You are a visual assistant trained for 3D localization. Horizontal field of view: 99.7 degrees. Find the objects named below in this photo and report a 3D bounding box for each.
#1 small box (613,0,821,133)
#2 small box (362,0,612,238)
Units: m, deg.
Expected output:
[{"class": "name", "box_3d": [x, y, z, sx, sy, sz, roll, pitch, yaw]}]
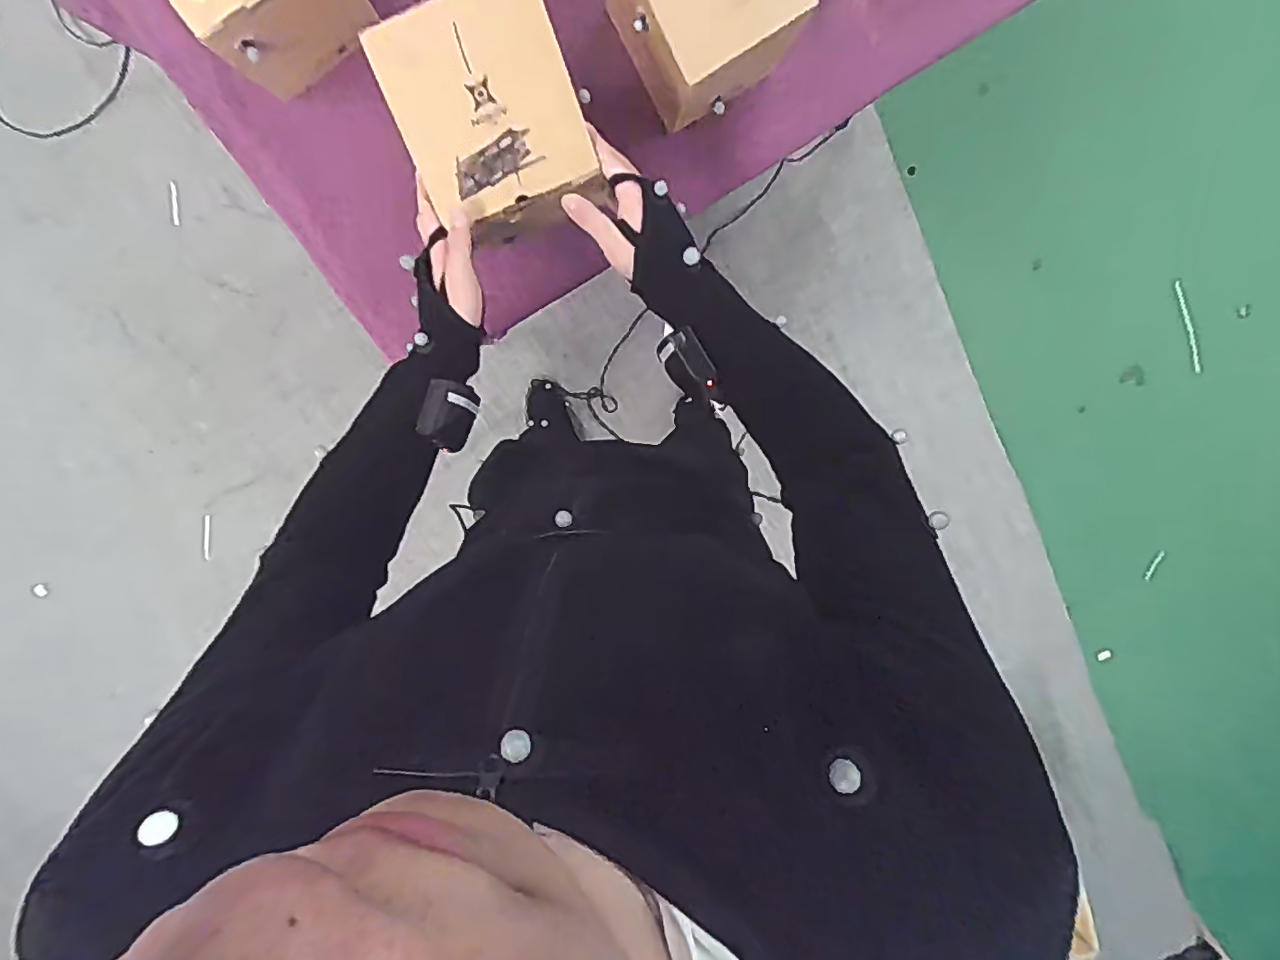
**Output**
[{"class": "small box", "box_3d": [0.078, -0.561, 0.641, 0.168, 0.176, 0.179, -30, 106, 4]}, {"class": "small box", "box_3d": [-0.134, -0.363, 0.554, 0.168, 0.176, 0.179, -19, 108, 6]}]
